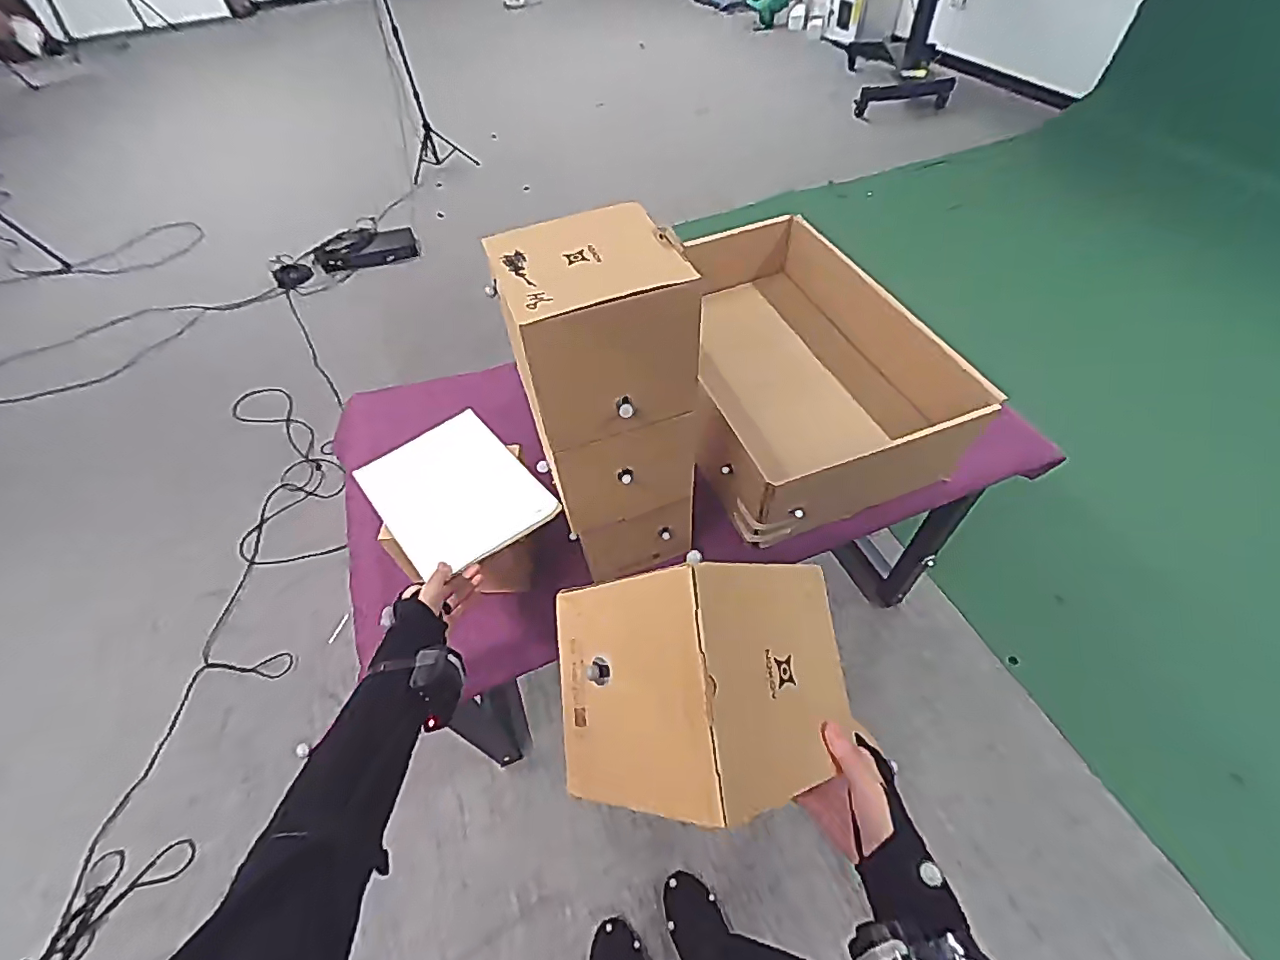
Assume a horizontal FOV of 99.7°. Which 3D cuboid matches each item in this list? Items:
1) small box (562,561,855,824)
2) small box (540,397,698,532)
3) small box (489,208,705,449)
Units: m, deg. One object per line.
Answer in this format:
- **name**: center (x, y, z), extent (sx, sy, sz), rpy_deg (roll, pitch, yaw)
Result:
- **small box**: center (0.053, 0.165, 0.464), extent (0.179, 0.176, 0.168), rpy_deg (9, 69, -41)
- **small box**: center (-0.036, -0.060, 0.715), extent (0.179, 0.176, 0.168), rpy_deg (-18, 52, -10)
- **small box**: center (-0.045, -0.161, 0.586), extent (0.179, 0.176, 0.168), rpy_deg (-18, 52, -11)
